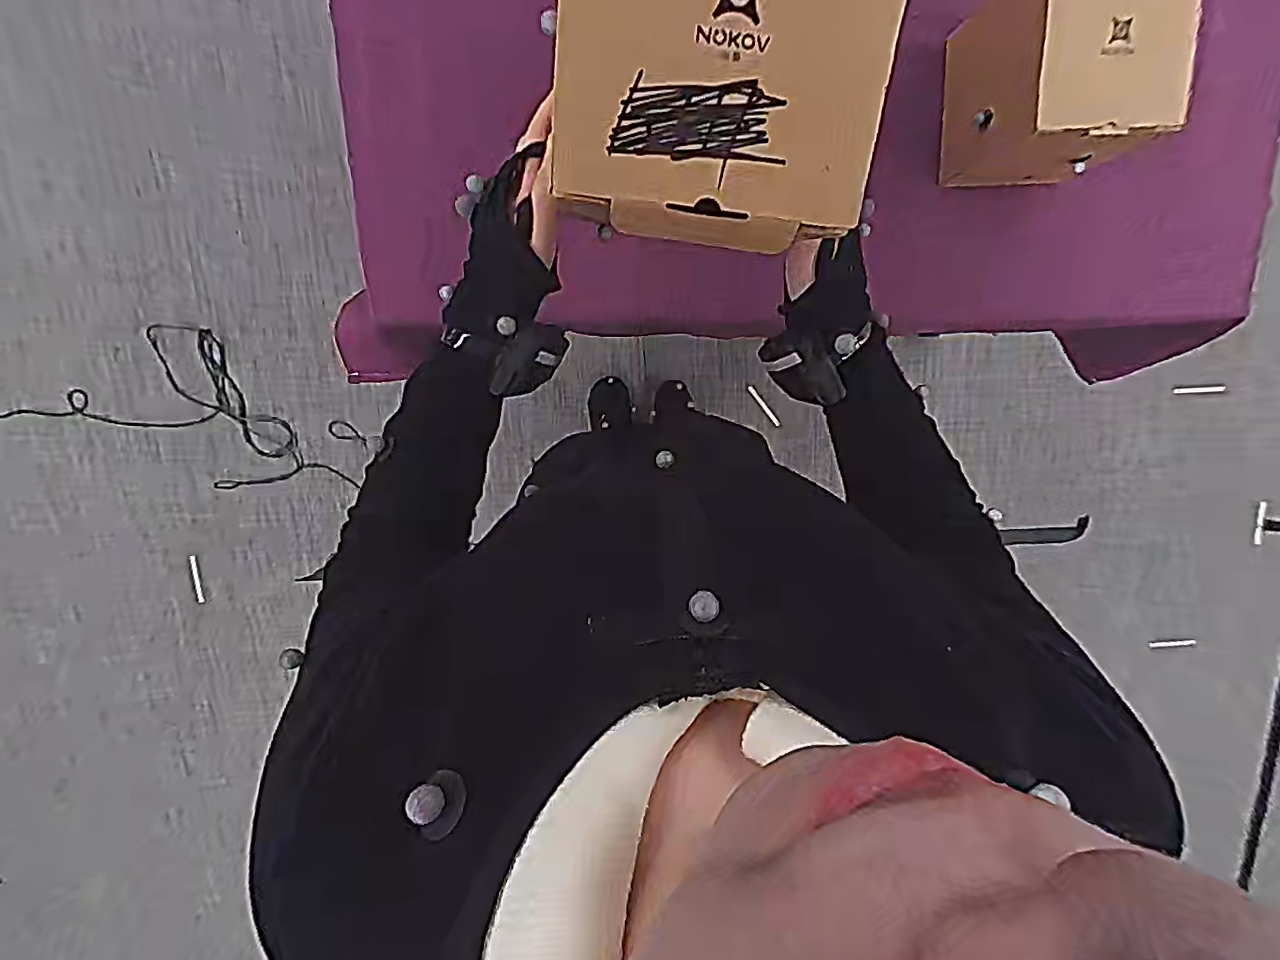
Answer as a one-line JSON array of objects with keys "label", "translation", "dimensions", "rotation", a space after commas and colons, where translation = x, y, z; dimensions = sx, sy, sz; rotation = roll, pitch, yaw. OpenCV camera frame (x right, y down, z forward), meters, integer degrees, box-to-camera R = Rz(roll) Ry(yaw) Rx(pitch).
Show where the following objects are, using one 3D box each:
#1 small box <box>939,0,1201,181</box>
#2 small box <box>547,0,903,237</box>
[{"label": "small box", "translation": [0.473, -0.461, 0.621], "dimensions": [0.168, 0.176, 0.179], "rotation": [-3, 101, -4]}, {"label": "small box", "translation": [0.039, -0.253, 0.330], "dimensions": [0.168, 0.176, 0.179], "rotation": [5, 111, -7]}]
